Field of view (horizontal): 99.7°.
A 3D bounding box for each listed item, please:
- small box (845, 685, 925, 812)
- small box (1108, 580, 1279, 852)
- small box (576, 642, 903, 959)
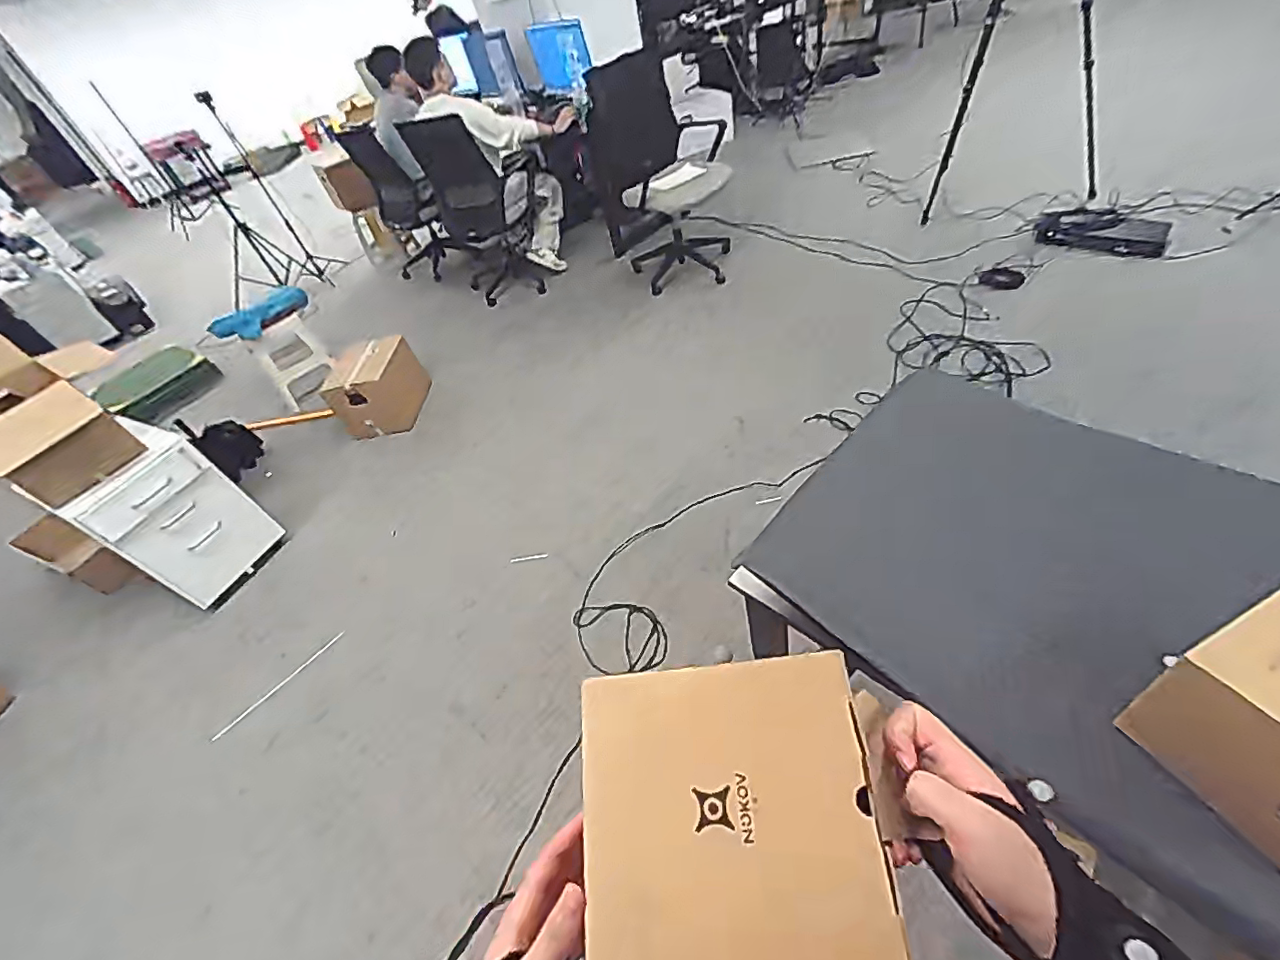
[{"bbox_3d":[0.519,0.621,1.249,0.168,0.176,0.179,-33,46,-14],"label":"small box"},{"bbox_3d":[0.641,0.241,0.542,0.168,0.176,0.179,-25,44,-12],"label":"small box"},{"bbox_3d":[0.066,0.224,0.390,0.179,0.176,0.168,-11,61,12],"label":"small box"}]
